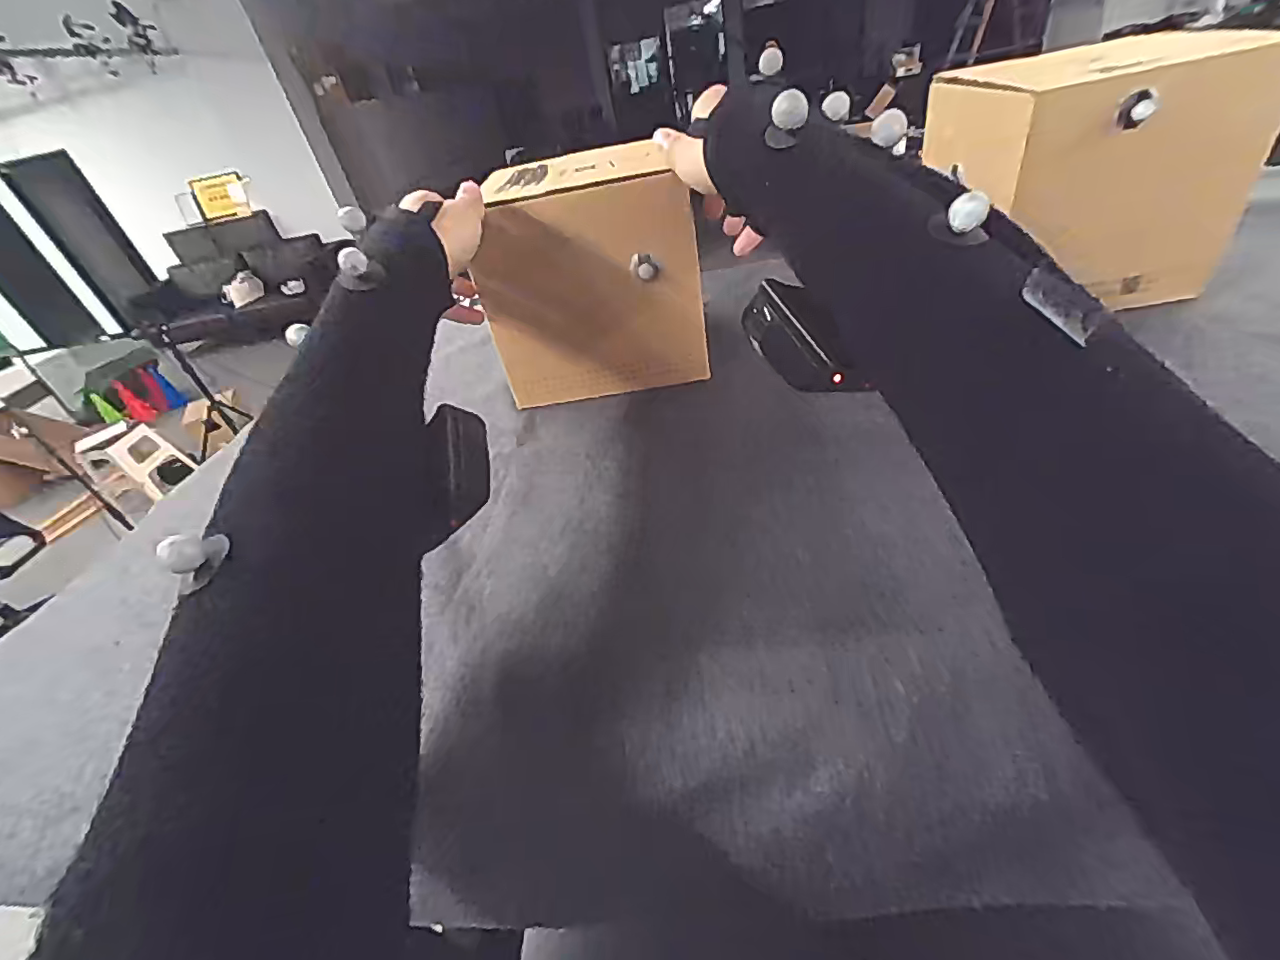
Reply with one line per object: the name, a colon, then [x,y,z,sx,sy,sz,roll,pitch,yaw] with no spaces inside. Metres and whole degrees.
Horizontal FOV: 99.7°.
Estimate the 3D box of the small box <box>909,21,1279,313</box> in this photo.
small box: [0.347,-0.258,0.458,0.168,0.176,0.179,-7,37,7]
